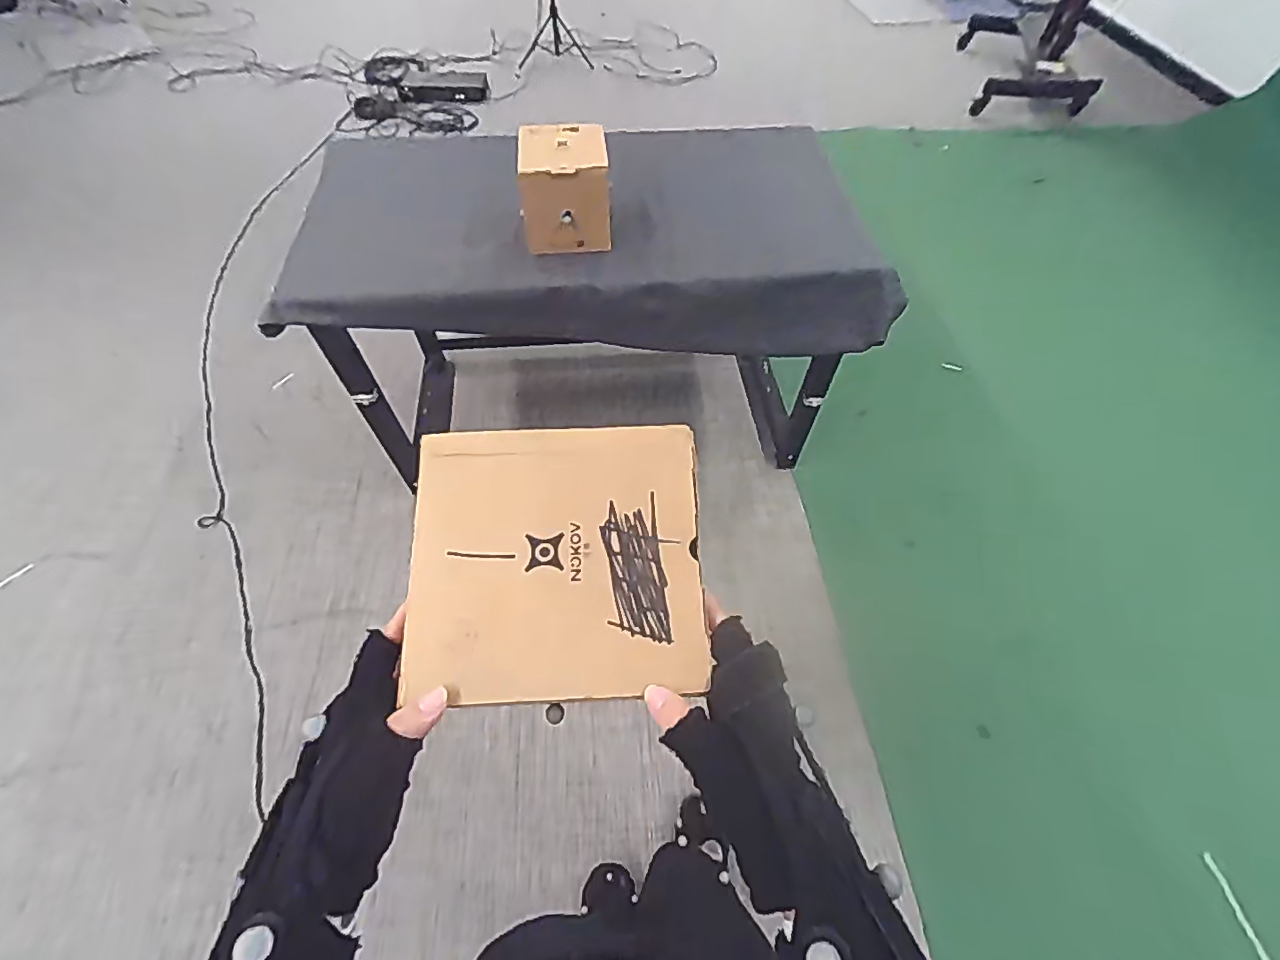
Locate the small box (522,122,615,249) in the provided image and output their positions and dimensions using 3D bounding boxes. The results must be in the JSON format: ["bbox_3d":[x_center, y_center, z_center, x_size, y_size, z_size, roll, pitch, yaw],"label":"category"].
[{"bbox_3d":[-0.137,-0.583,1.082,0.168,0.176,0.179,-4,58,-4],"label":"small box"}]
